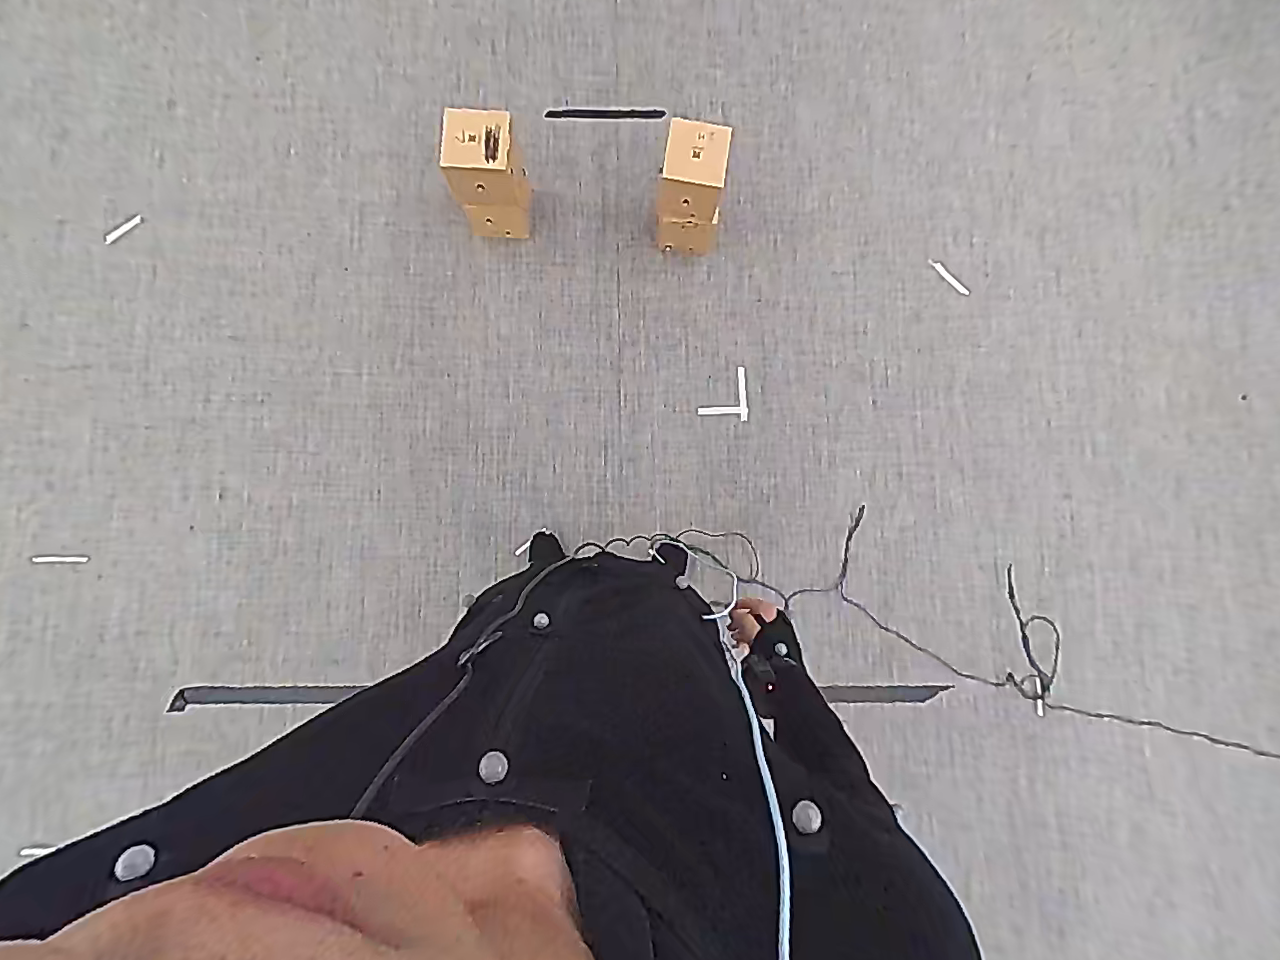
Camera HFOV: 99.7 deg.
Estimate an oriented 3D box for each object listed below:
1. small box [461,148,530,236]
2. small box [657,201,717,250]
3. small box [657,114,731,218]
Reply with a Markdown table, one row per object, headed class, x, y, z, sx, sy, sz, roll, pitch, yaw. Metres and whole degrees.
| class | x | y | z | sx | sy | sz | roll | pitch | yaw |
| --- | --- | --- | --- | --- | --- | --- | --- | --- | --- |
| small box | -0.430 | -0.863 | 1.634 | 0.168 | 0.176 | 0.179 | 1 | 84 | -2 |
| small box | 0.142 | -0.828 | 1.652 | 0.168 | 0.176 | 0.179 | 3 | 84 | -3 |
| small box | 0.143 | -0.854 | 1.489 | 0.168 | 0.176 | 0.179 | 9 | 85 | -2 |
